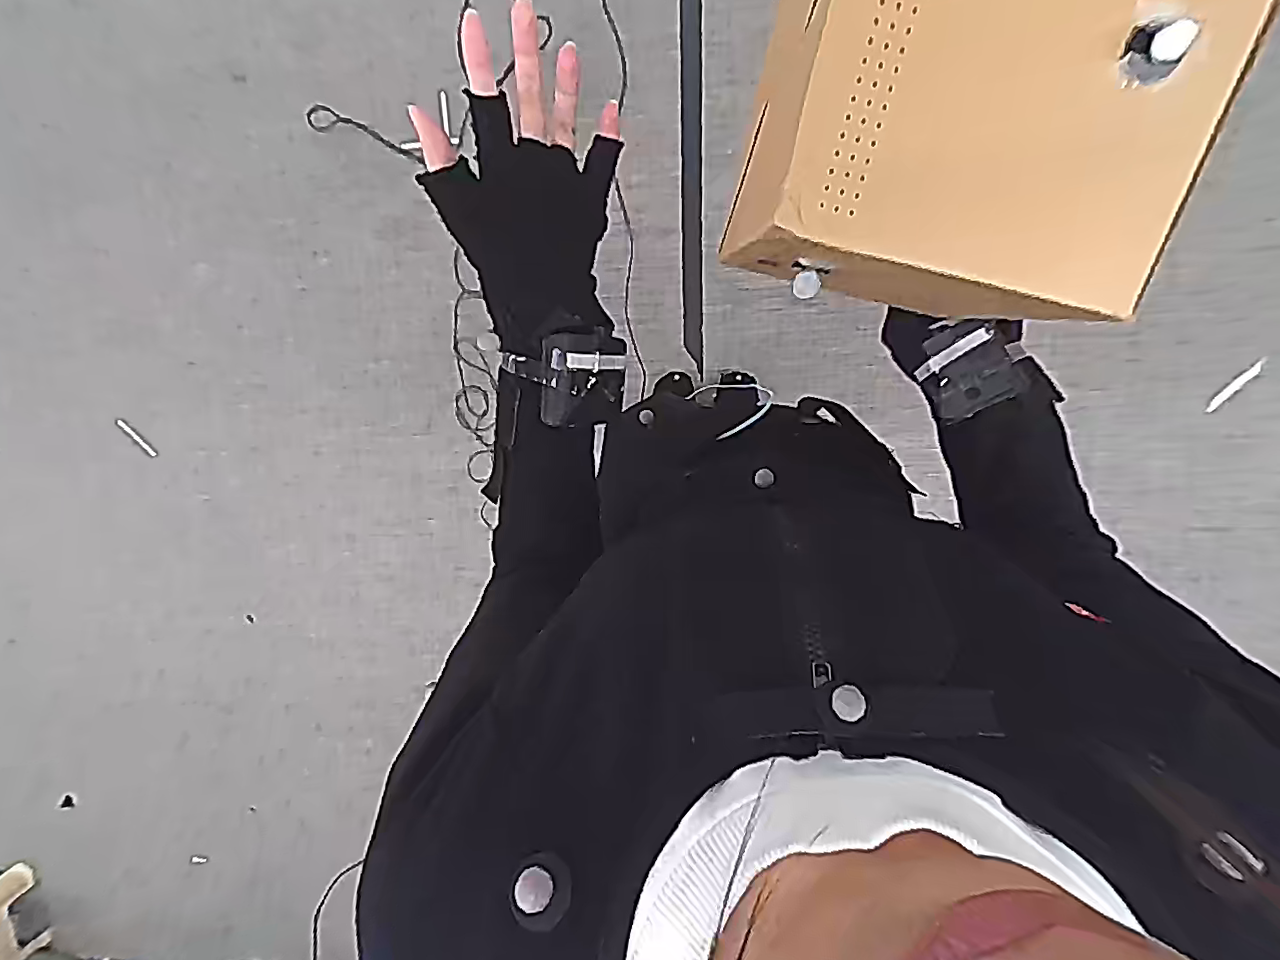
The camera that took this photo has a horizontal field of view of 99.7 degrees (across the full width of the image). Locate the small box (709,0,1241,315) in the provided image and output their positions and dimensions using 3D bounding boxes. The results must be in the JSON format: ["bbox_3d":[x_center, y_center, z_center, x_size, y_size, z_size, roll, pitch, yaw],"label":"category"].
[{"bbox_3d":[0.145,-0.196,0.291,0.176,0.168,0.179,12,107,-3],"label":"small box"}]
